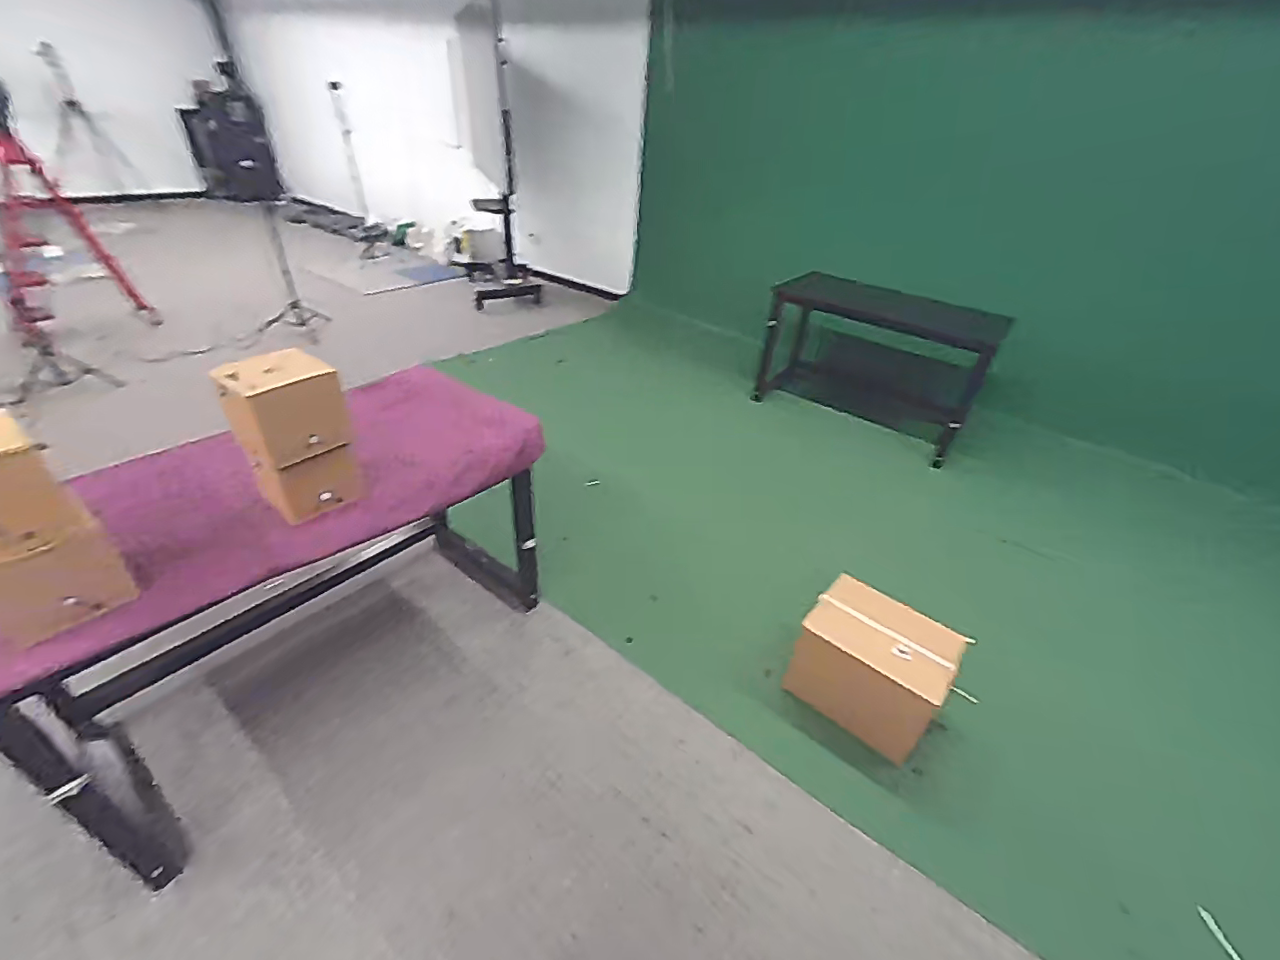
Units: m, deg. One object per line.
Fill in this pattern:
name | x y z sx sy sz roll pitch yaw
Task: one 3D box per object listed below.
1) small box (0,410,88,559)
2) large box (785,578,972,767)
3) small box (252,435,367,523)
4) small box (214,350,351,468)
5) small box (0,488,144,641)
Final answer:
small box | -1.031 0.014 0.847 0.179 0.176 0.168 25 39 29
large box | 0.730 0.585 1.690 0.408 0.320 0.320 29 41 30
small box | -0.760 -0.030 1.239 0.179 0.176 0.168 28 41 30
small box | -0.732 -0.151 1.129 0.168 0.176 0.179 26 39 28
small box | -1.026 0.145 0.943 0.179 0.176 0.168 25 40 29
